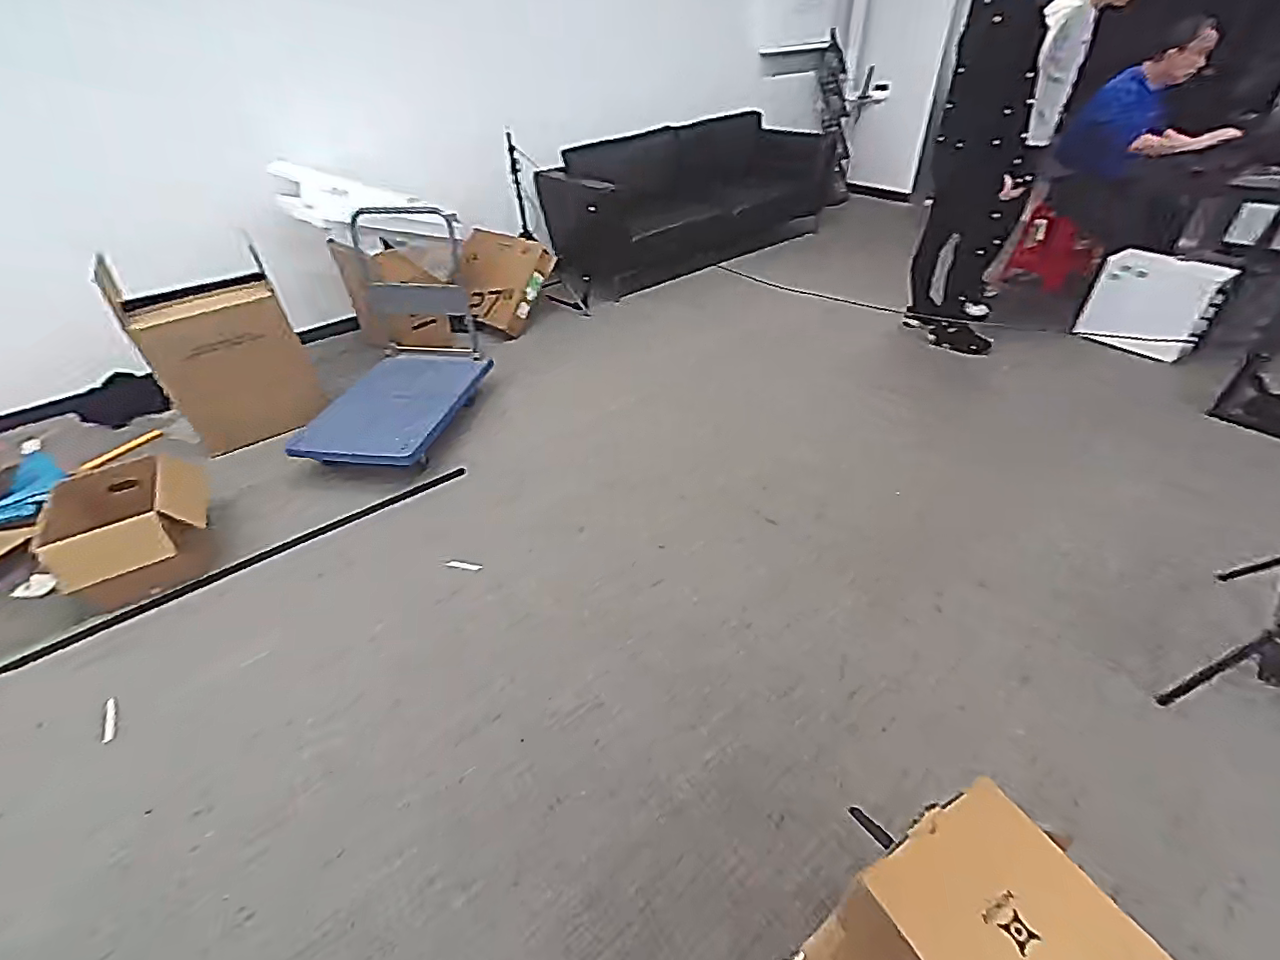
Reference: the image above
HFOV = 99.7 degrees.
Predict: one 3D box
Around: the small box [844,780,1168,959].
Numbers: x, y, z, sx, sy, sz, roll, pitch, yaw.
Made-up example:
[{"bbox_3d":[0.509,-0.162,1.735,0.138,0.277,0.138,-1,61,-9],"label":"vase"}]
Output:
[{"bbox_3d":[0.315,0.427,0.496,0.168,0.176,0.179,-24,42,-18],"label":"small box"}]
